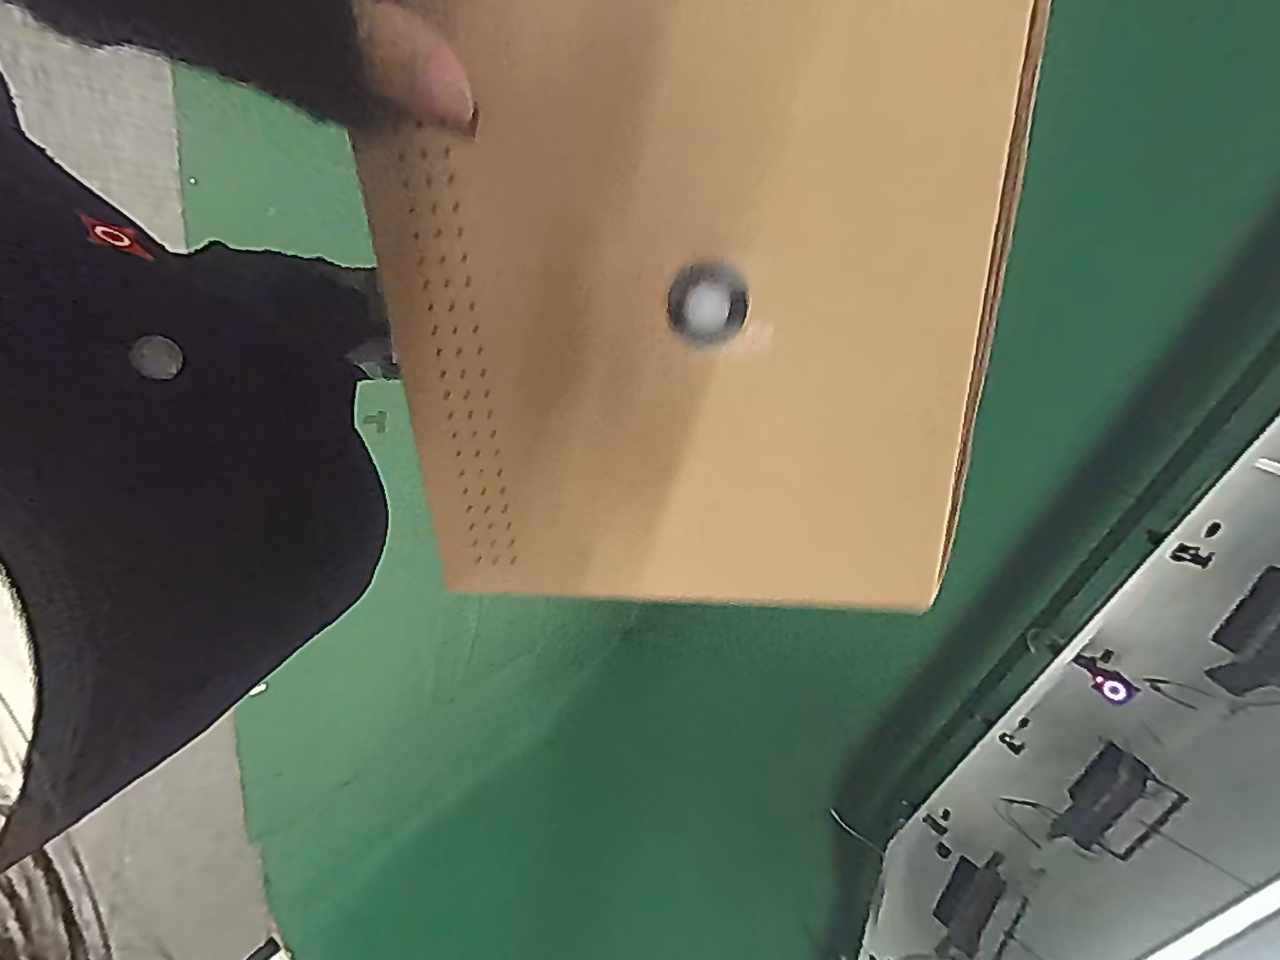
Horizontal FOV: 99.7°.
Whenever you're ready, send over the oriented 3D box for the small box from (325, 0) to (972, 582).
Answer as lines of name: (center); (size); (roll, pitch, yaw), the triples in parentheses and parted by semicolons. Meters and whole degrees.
small box: (0.007, -0.074, 0.234); (0.168, 0.176, 0.179); (-74, 161, -68)
